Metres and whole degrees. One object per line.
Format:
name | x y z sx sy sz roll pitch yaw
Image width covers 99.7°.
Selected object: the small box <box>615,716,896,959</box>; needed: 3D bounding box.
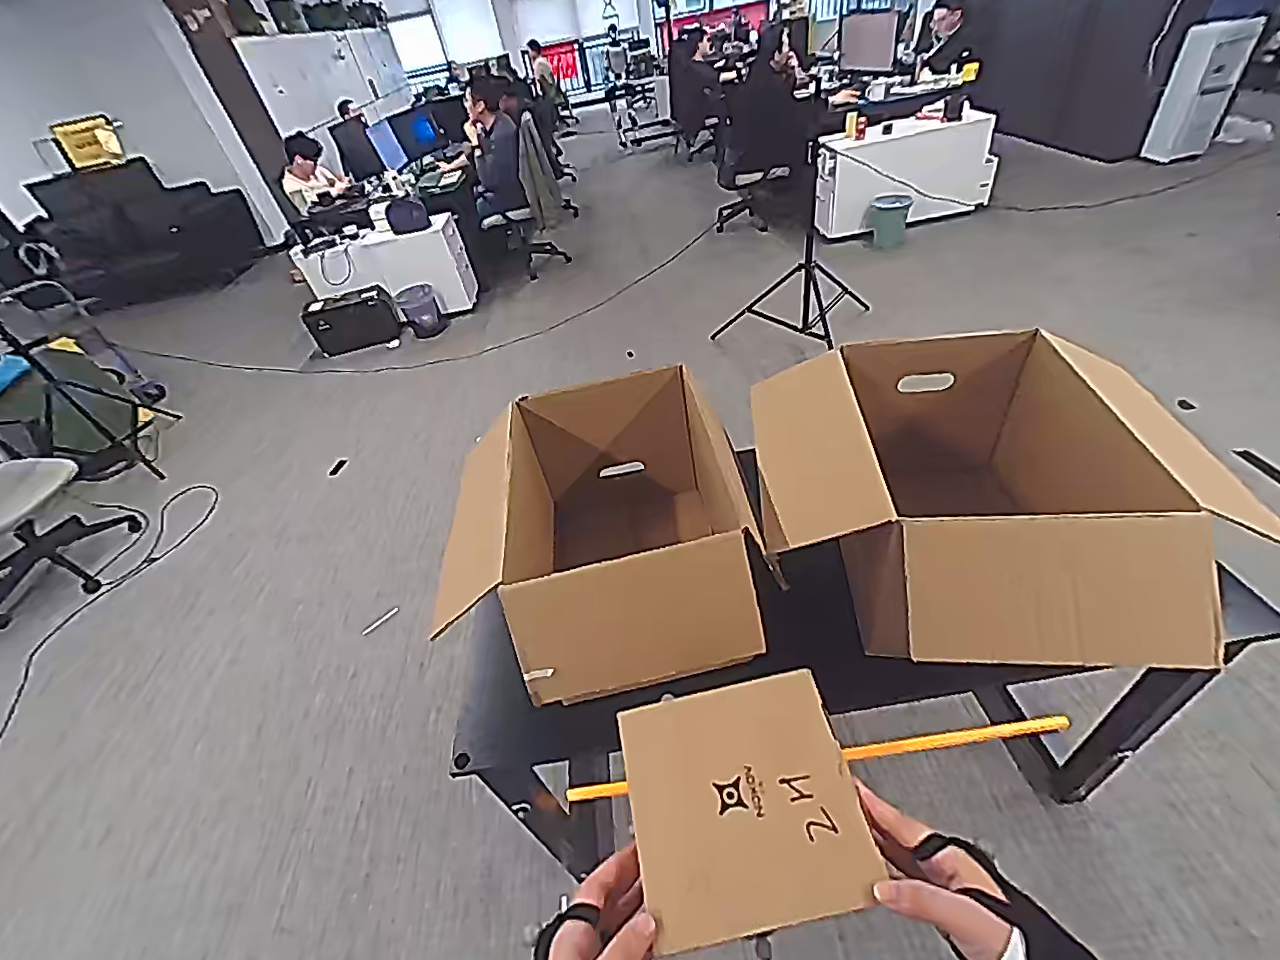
small box | 0.086 0.329 0.470 0.179 0.176 0.168 -12 51 0
